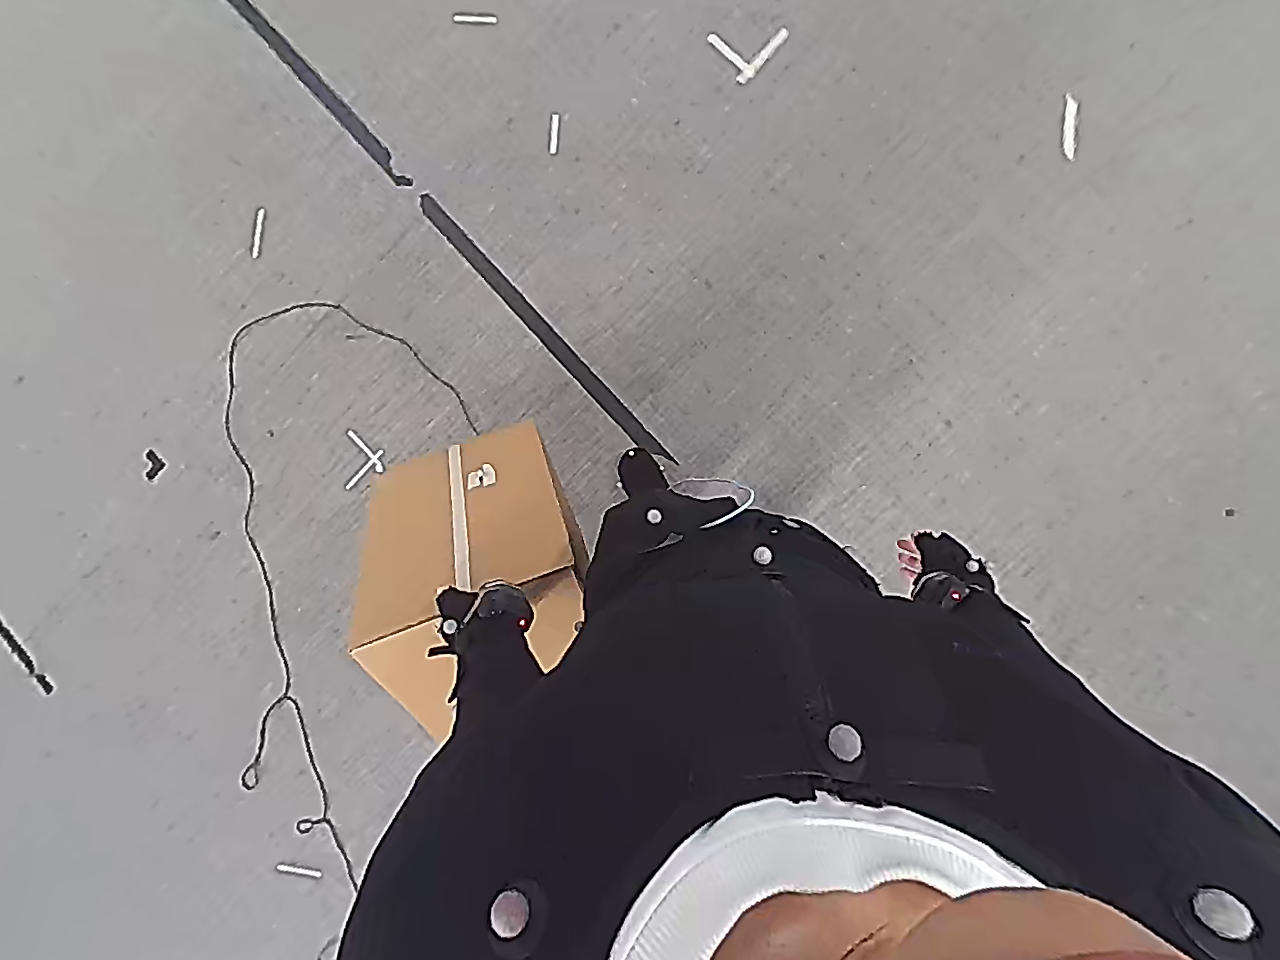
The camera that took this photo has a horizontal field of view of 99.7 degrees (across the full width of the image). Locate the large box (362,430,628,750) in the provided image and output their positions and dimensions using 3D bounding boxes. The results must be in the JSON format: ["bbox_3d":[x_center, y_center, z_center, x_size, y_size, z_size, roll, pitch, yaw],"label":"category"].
[{"bbox_3d":[-0.249,0.176,0.964,0.320,0.408,0.320,-20,128,-6],"label":"large box"}]
